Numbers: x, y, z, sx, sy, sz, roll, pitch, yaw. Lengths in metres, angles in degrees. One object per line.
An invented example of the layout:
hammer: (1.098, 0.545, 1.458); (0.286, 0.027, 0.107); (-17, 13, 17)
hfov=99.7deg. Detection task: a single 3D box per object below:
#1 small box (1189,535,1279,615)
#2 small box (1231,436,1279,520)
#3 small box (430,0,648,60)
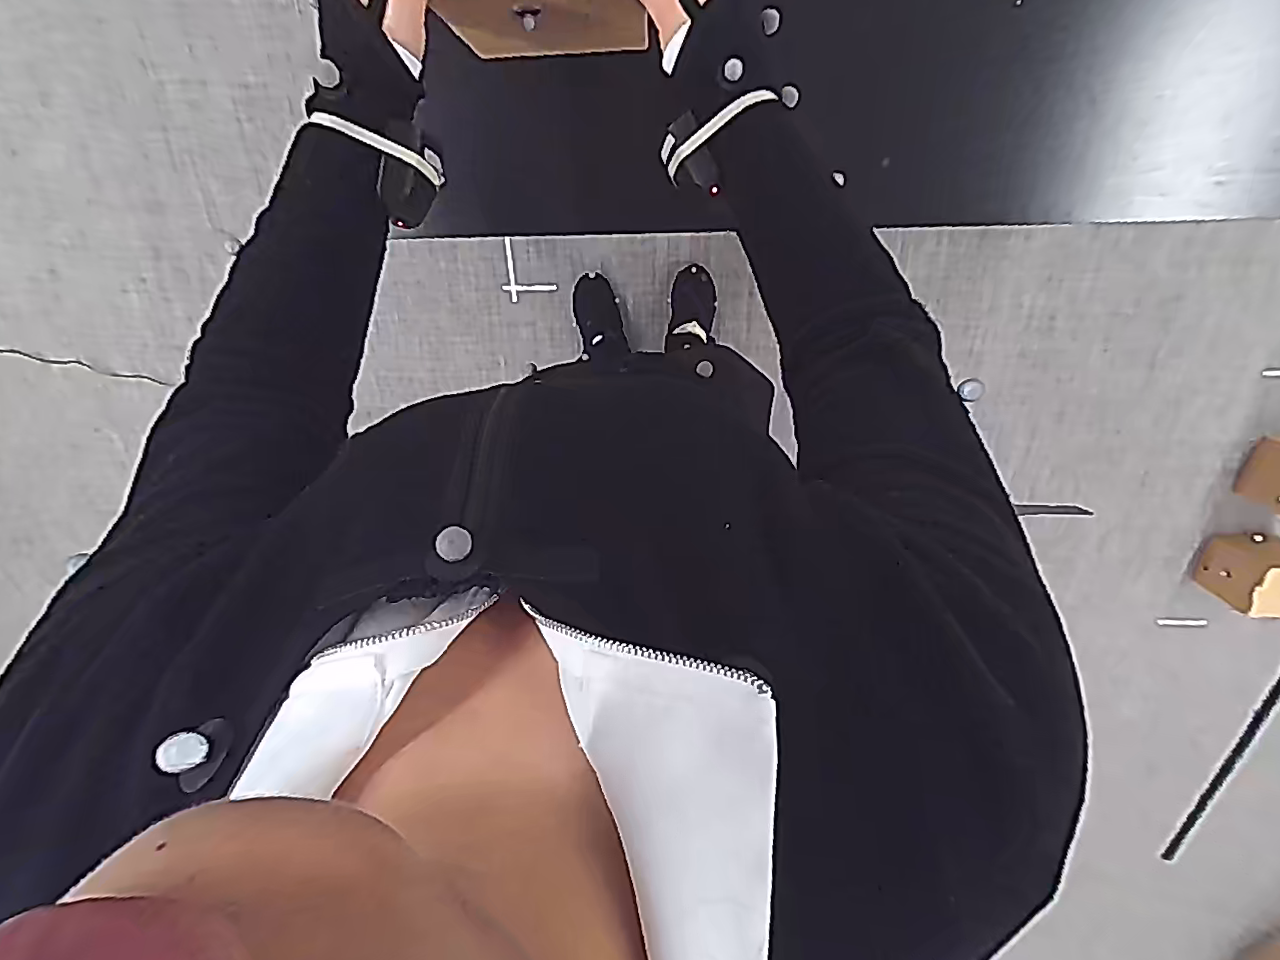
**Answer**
small box: (1.754, 0.267, 1.548); (0.179, 0.176, 0.168); (-2, 115, 4)
small box: (1.739, -0.001, 1.421); (0.168, 0.176, 0.179); (2, 115, 1)
small box: (-0.083, -0.483, 0.462); (0.179, 0.176, 0.168); (-2, 115, 2)
